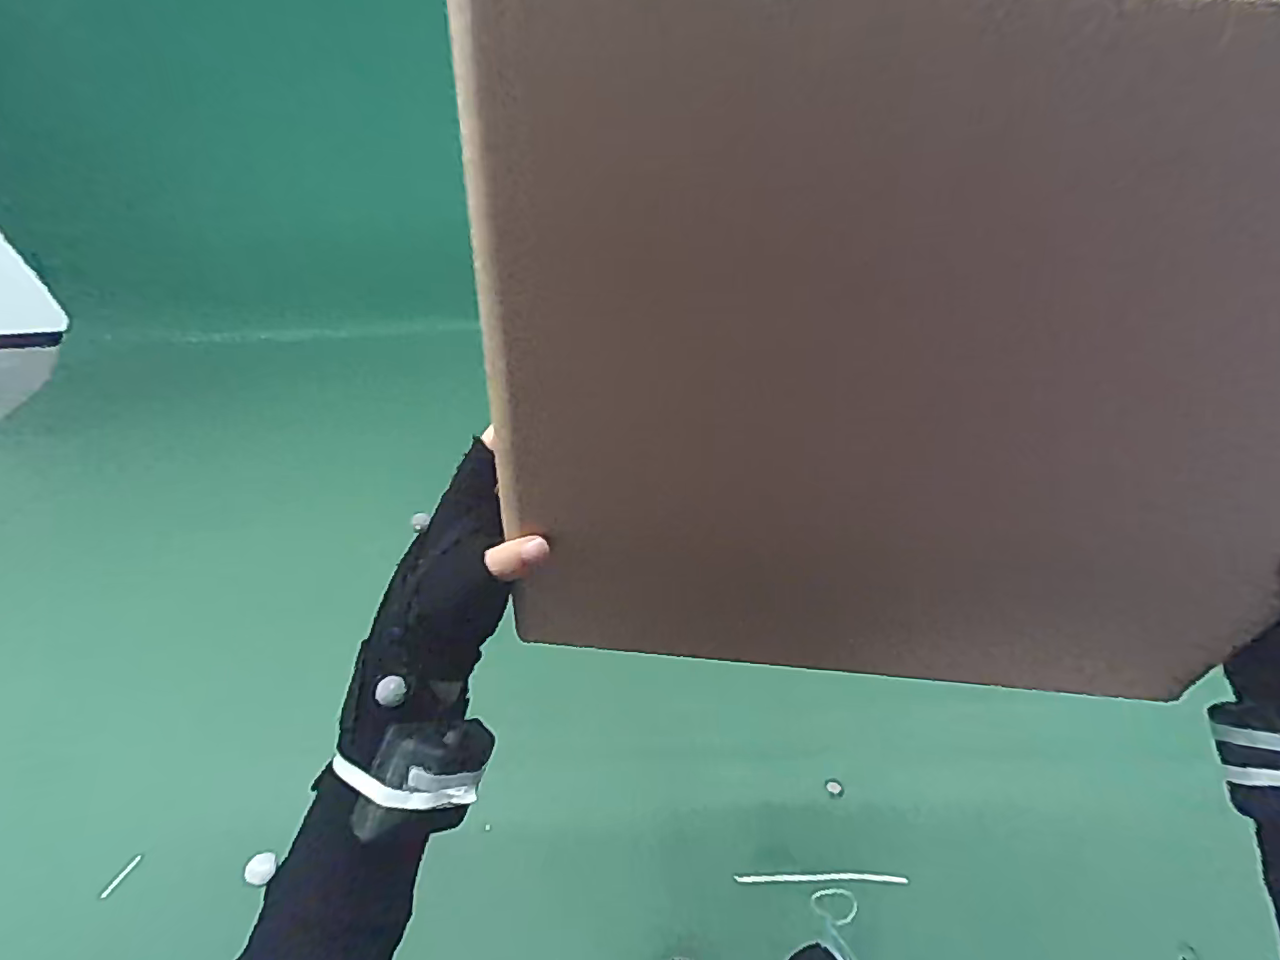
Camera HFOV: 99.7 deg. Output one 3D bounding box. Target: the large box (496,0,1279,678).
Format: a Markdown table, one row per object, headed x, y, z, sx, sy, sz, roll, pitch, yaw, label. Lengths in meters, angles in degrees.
| x | y | z | sx | sy | sz | roll | pitch | yaw | label |
| --- | --- | --- | --- | --- | --- | --- | --- | --- | --- |
| 0.144 | -0.098 | 0.366 | 0.408 | 0.320 | 0.320 | 6 | 39 | -1 | large box |
